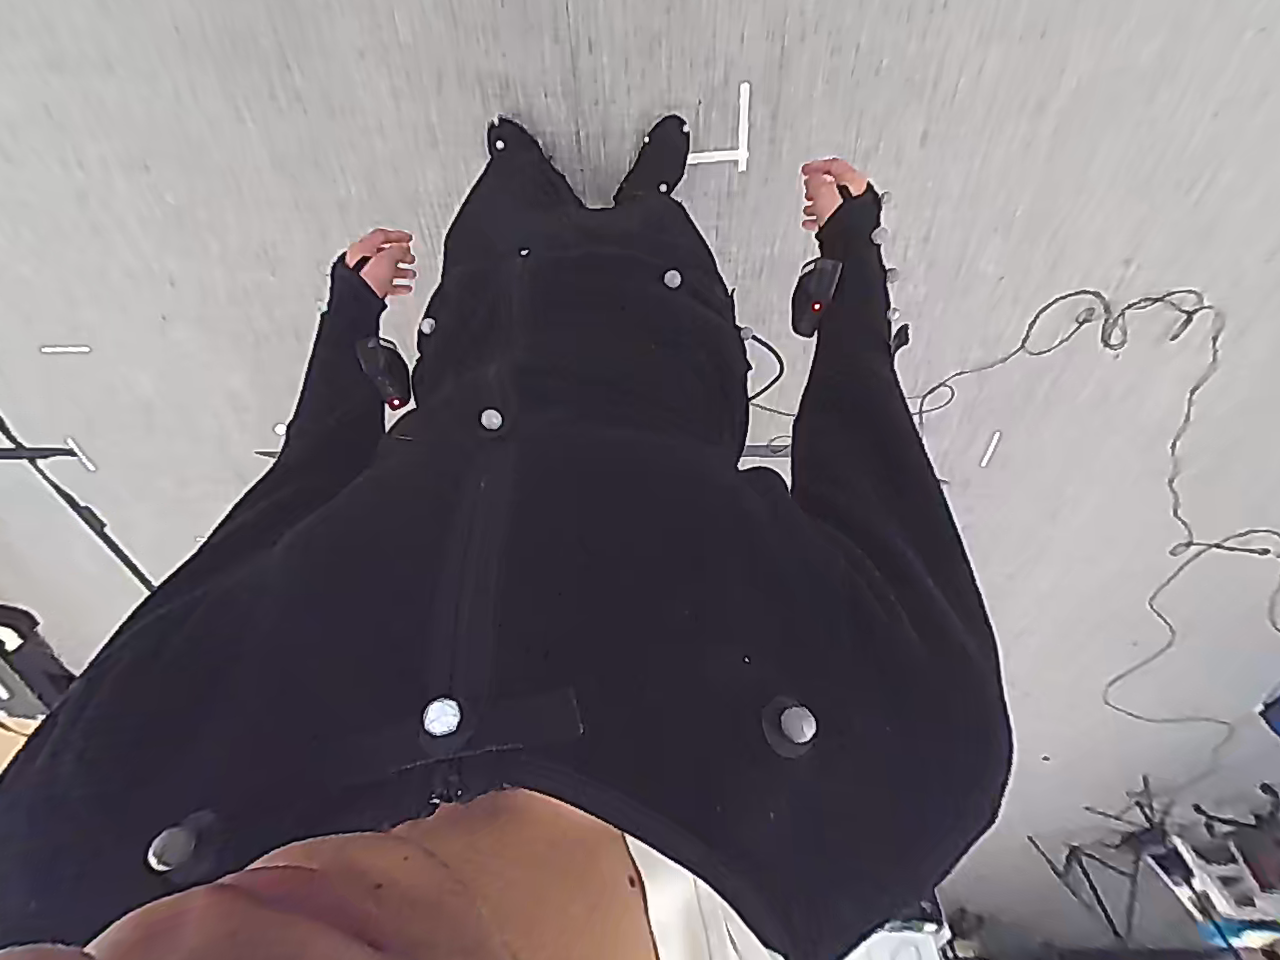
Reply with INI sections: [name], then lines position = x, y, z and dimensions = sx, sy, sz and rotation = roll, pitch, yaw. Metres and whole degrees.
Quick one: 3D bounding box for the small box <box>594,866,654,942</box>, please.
[small box]
position = -0.046, 1.367, 1.744
dimensions = 0.179, 0.176, 0.168
rotation = -2, 129, 4
